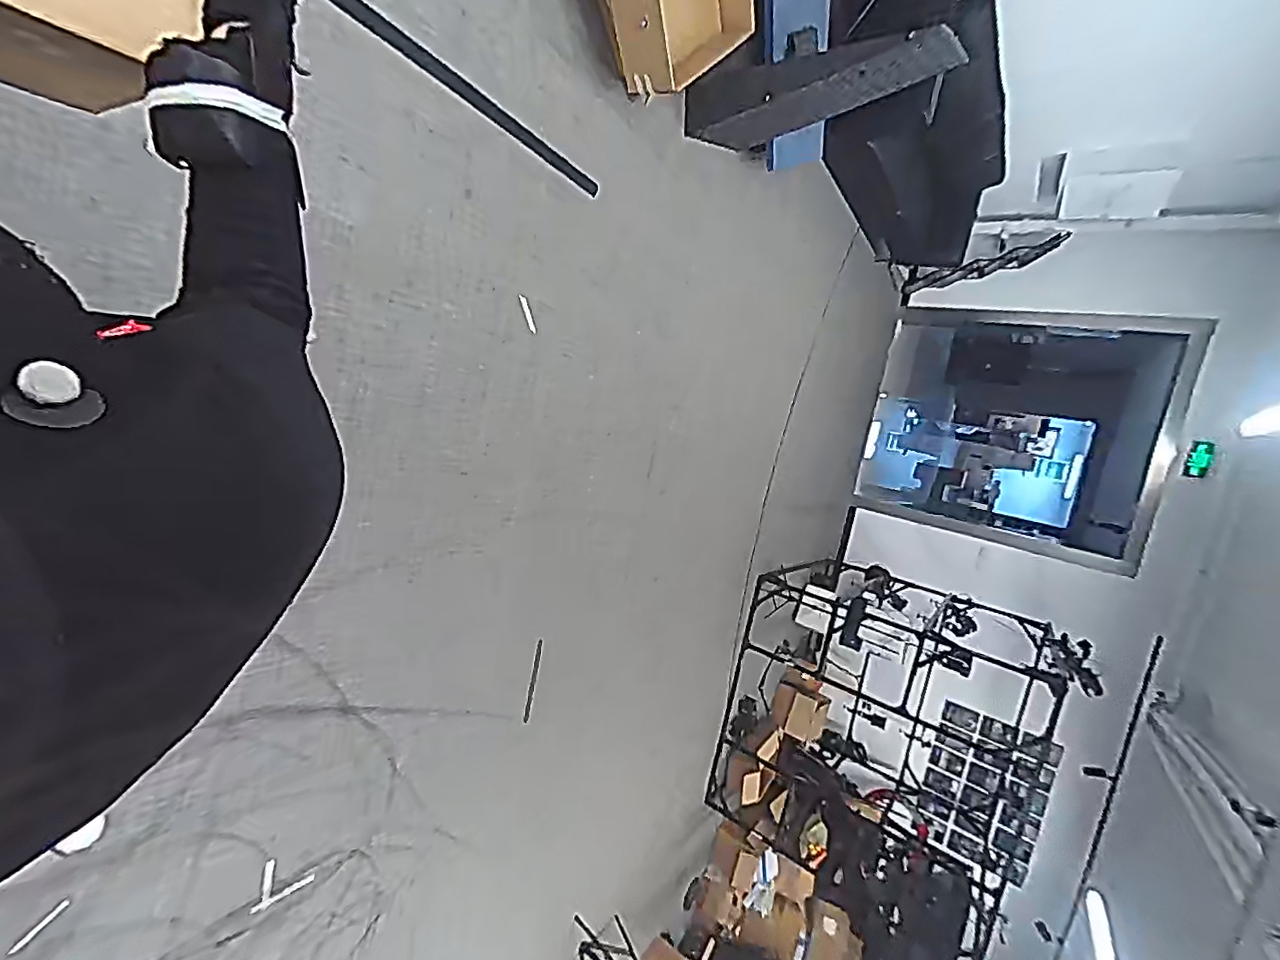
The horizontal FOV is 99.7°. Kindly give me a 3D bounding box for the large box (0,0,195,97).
[{"bbox_3d":[-0.524,-0.468,0.272,0.408,0.320,0.320,-6,114,-55],"label":"large box"}]
